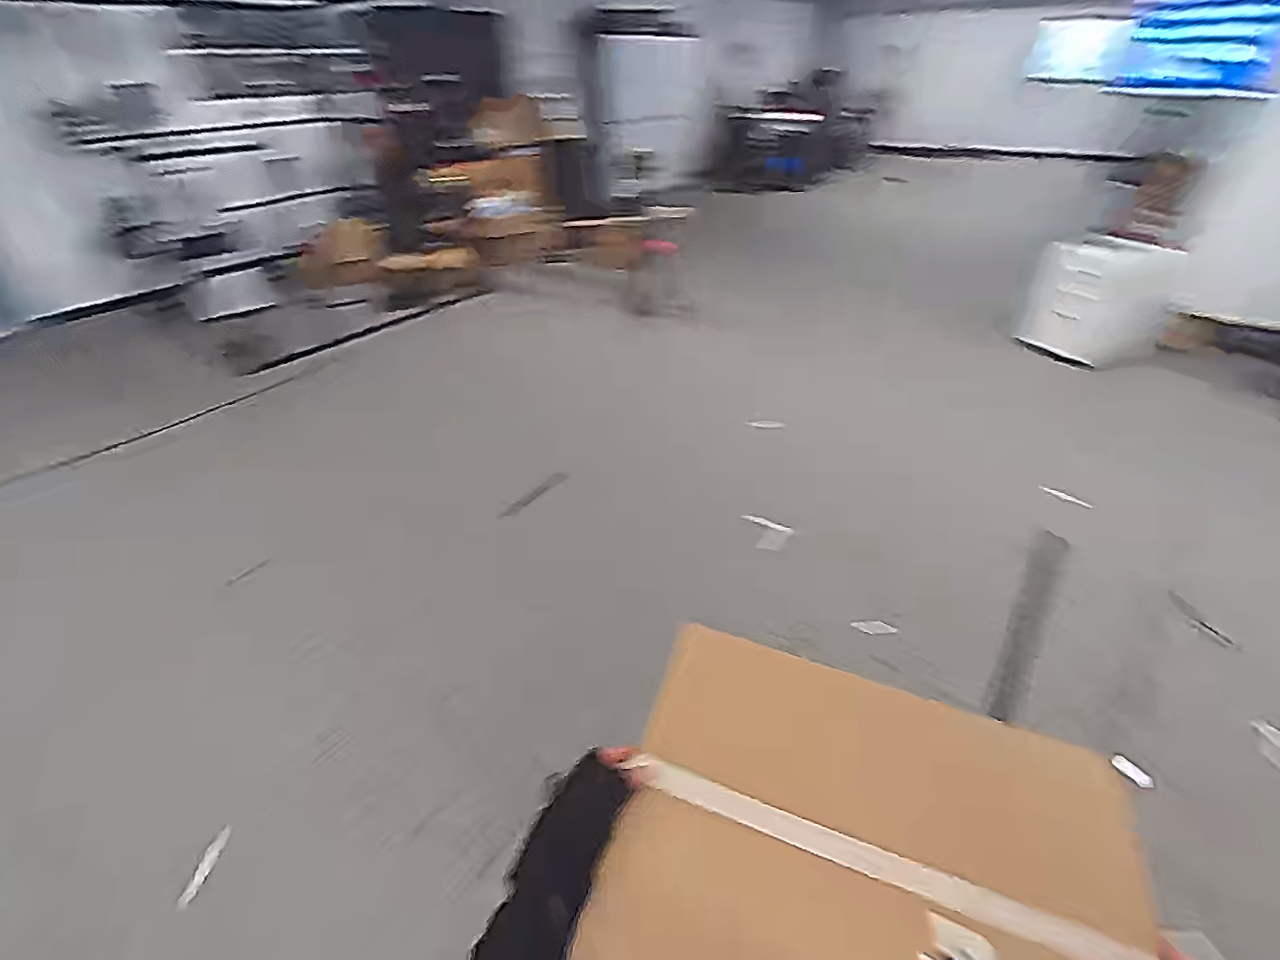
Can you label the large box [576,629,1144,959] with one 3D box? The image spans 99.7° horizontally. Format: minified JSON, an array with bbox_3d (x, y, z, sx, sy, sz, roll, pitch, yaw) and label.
[{"bbox_3d":[0.185,0.414,0.552,0.408,0.320,0.320,15,47,15],"label":"large box"}]
